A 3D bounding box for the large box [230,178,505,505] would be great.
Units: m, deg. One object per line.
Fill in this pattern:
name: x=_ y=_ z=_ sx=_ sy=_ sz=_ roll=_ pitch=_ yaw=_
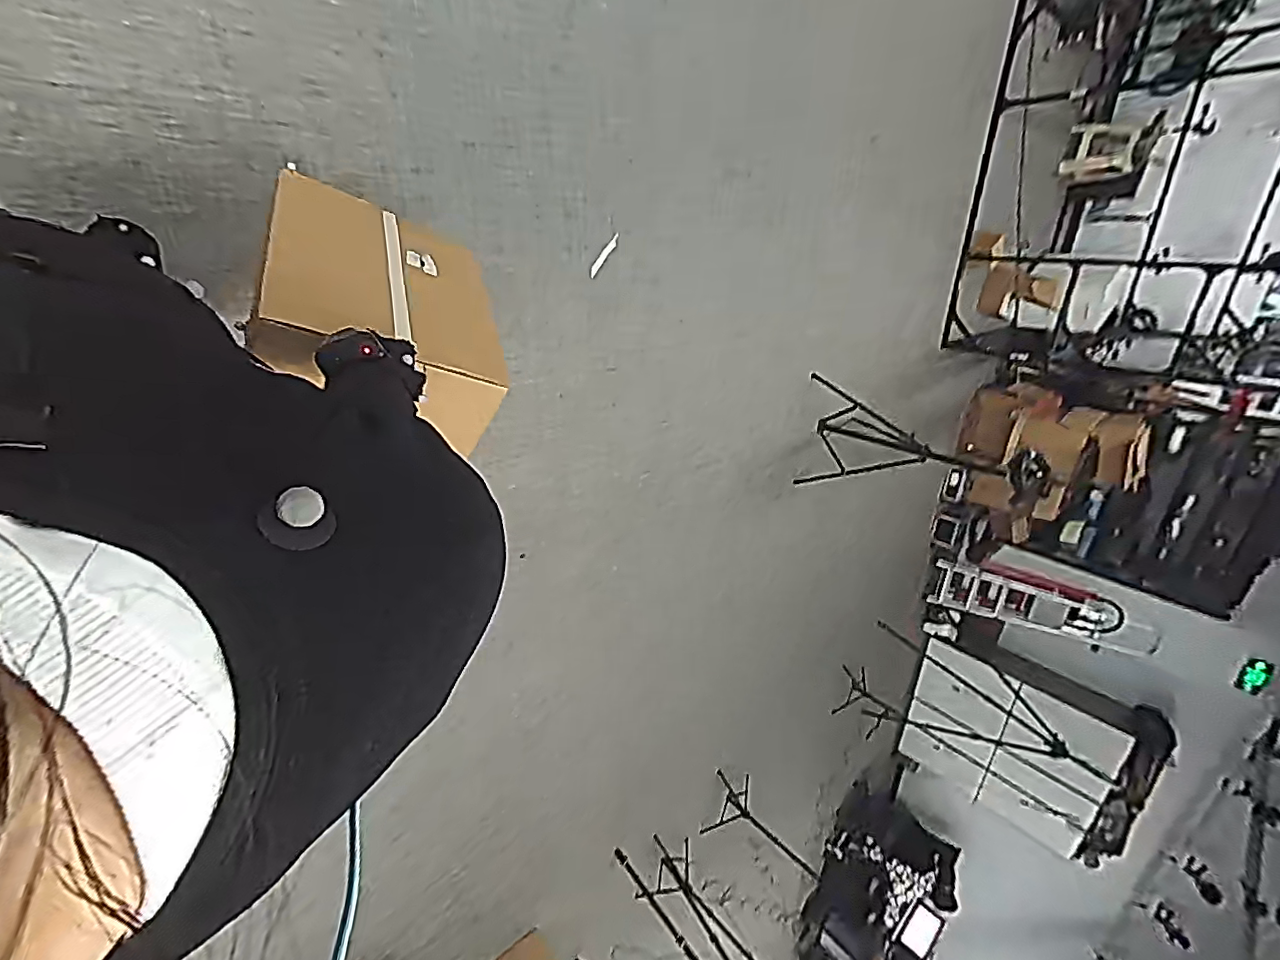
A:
large box: x=-0.469 y=-0.210 z=0.908 sx=0.320 sy=0.408 sz=0.320 roll=11 pitch=131 yaw=-40
